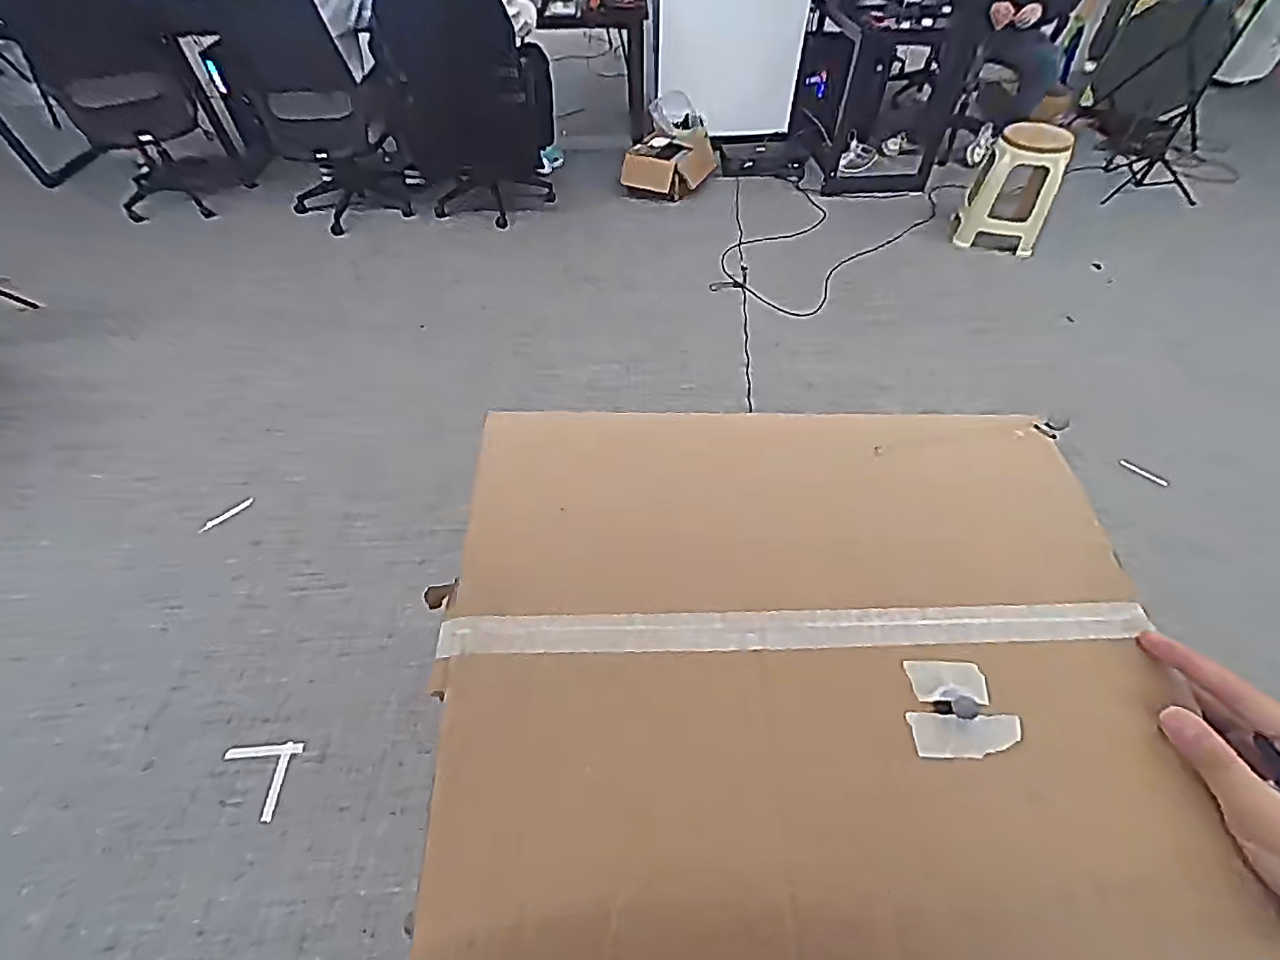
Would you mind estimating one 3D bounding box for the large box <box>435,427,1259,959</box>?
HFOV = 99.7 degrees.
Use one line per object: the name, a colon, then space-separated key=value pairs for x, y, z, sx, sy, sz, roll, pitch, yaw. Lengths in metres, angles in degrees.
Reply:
large box: x=0.088 y=0.169 z=0.450 sx=0.408 sy=0.320 sz=0.320 roll=0 pitch=60 yaw=-4
